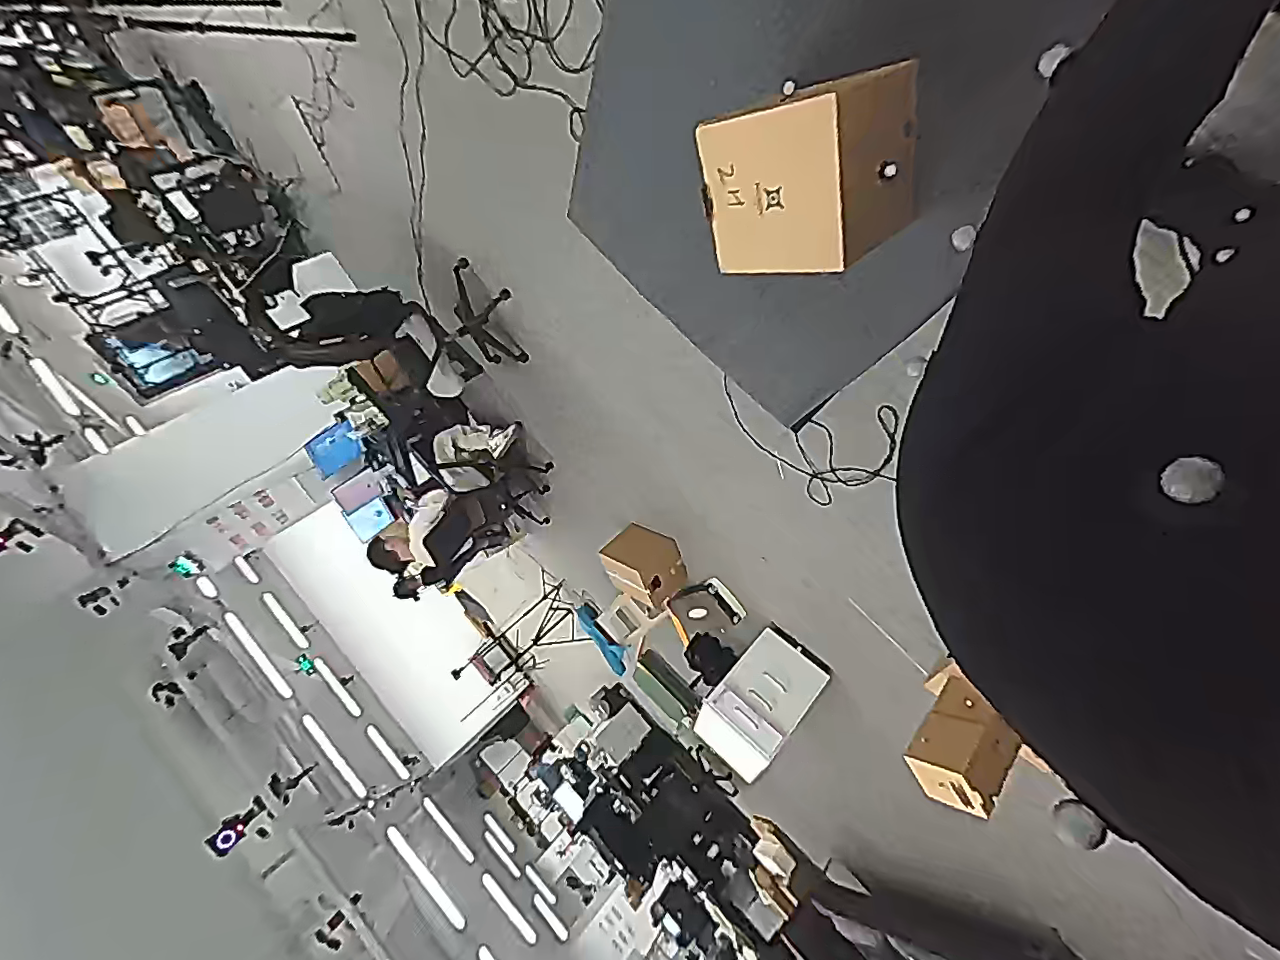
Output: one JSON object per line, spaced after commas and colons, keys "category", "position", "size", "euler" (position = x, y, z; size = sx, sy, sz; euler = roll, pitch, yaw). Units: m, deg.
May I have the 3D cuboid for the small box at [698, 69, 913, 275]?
{"category": "small box", "position": [0.200, -0.354, 0.636], "size": [0.179, 0.176, 0.168], "euler": [21, 140, 43]}

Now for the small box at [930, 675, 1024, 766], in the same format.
{"category": "small box", "position": [1.019, 0.713, 1.625], "size": [0.168, 0.176, 0.179], "euler": [57, 149, -10]}
